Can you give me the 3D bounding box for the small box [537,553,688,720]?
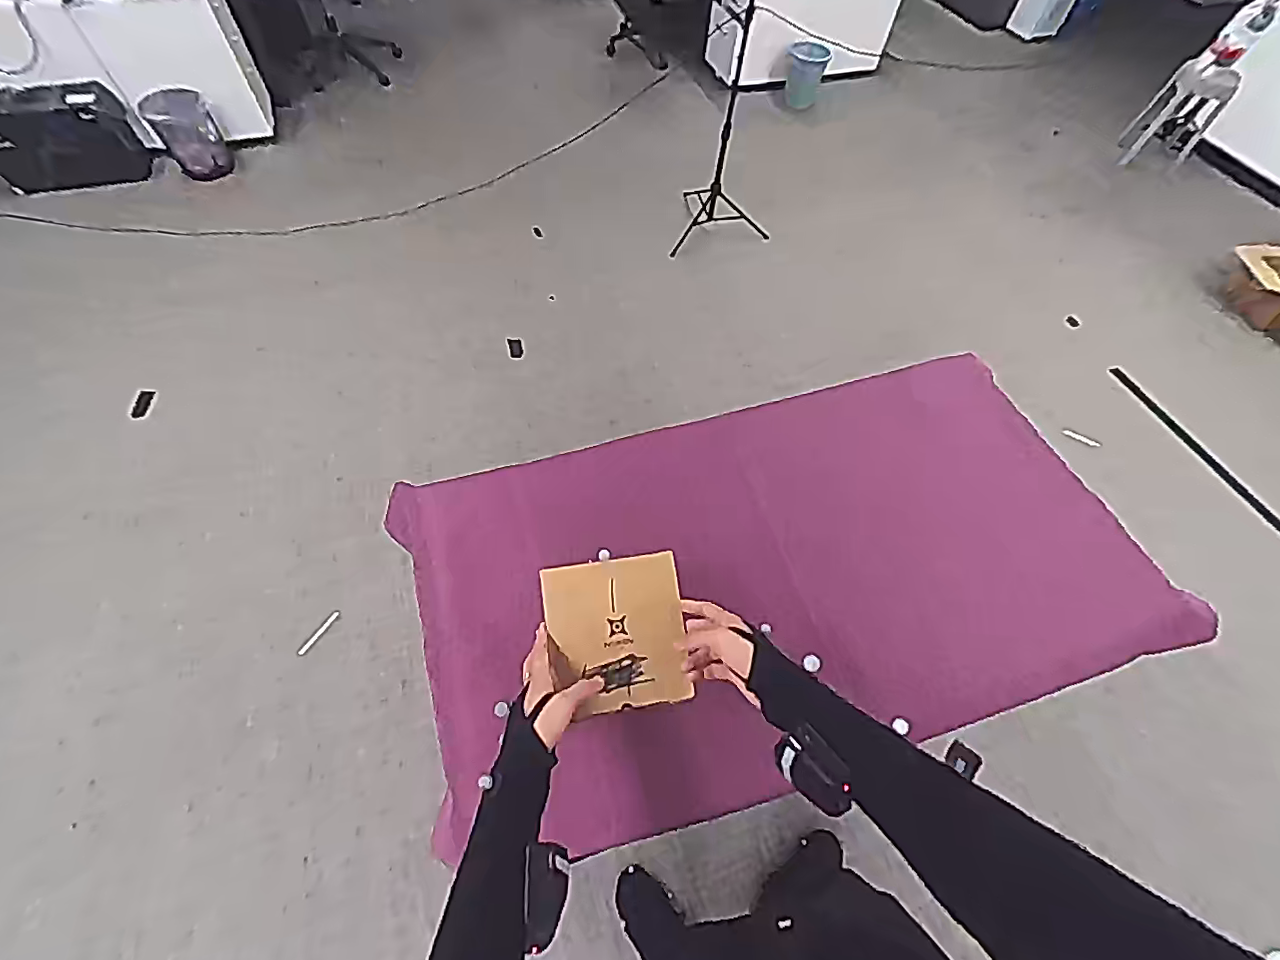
[{"bbox_3d":[-0.043,0.196,0.722,0.168,0.176,0.179,-7,81,-10],"label":"small box"}]
